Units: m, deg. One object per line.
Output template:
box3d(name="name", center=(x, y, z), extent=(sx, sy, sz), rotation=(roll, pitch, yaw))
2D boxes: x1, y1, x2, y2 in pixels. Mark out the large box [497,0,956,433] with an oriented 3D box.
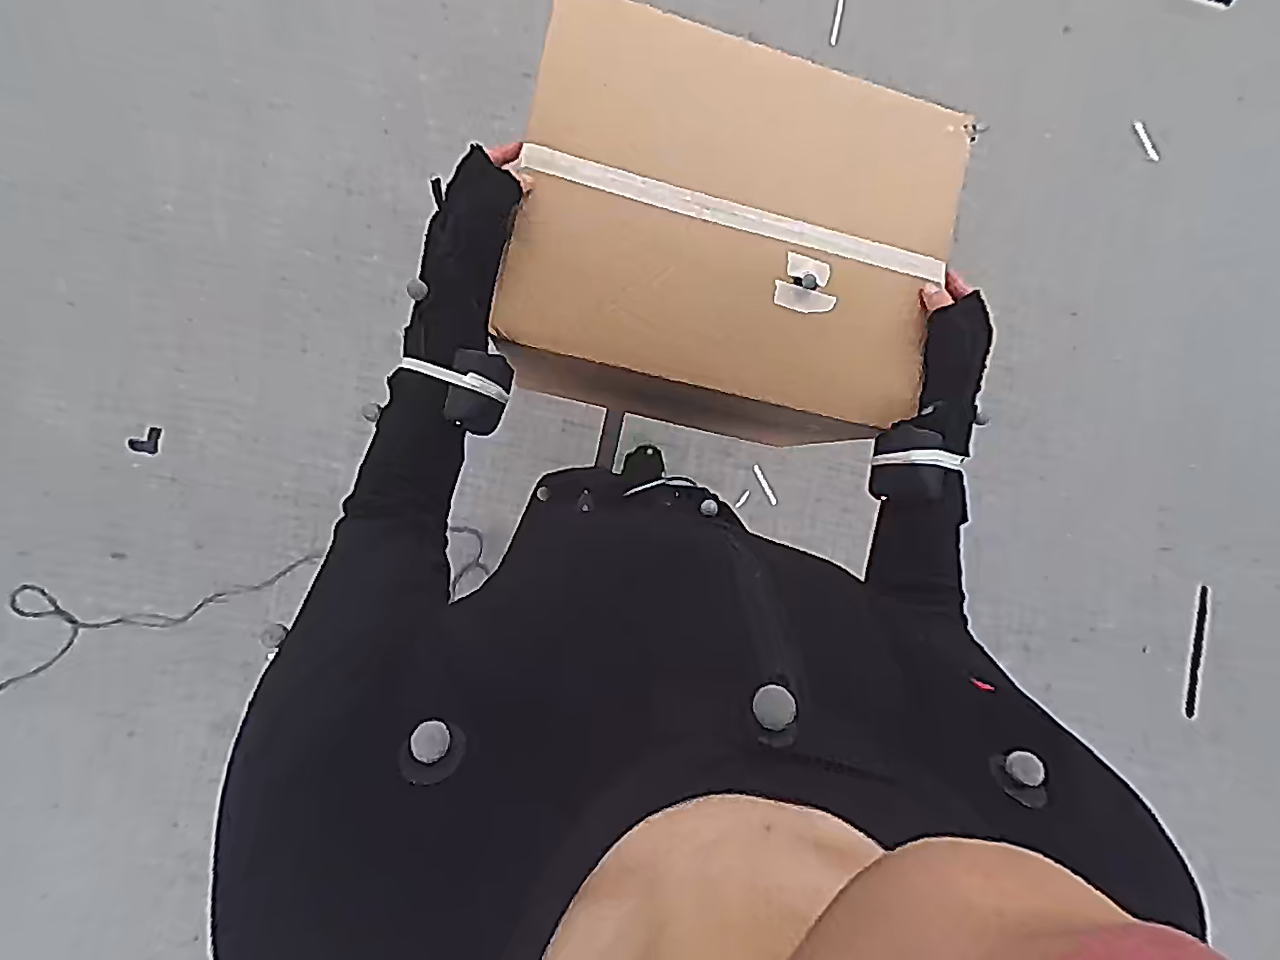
box3d(name="large box", center=(0.068, -0.249, 0.647), extent=(0.408, 0.320, 0.320), rotation=(11, 91, -10))
